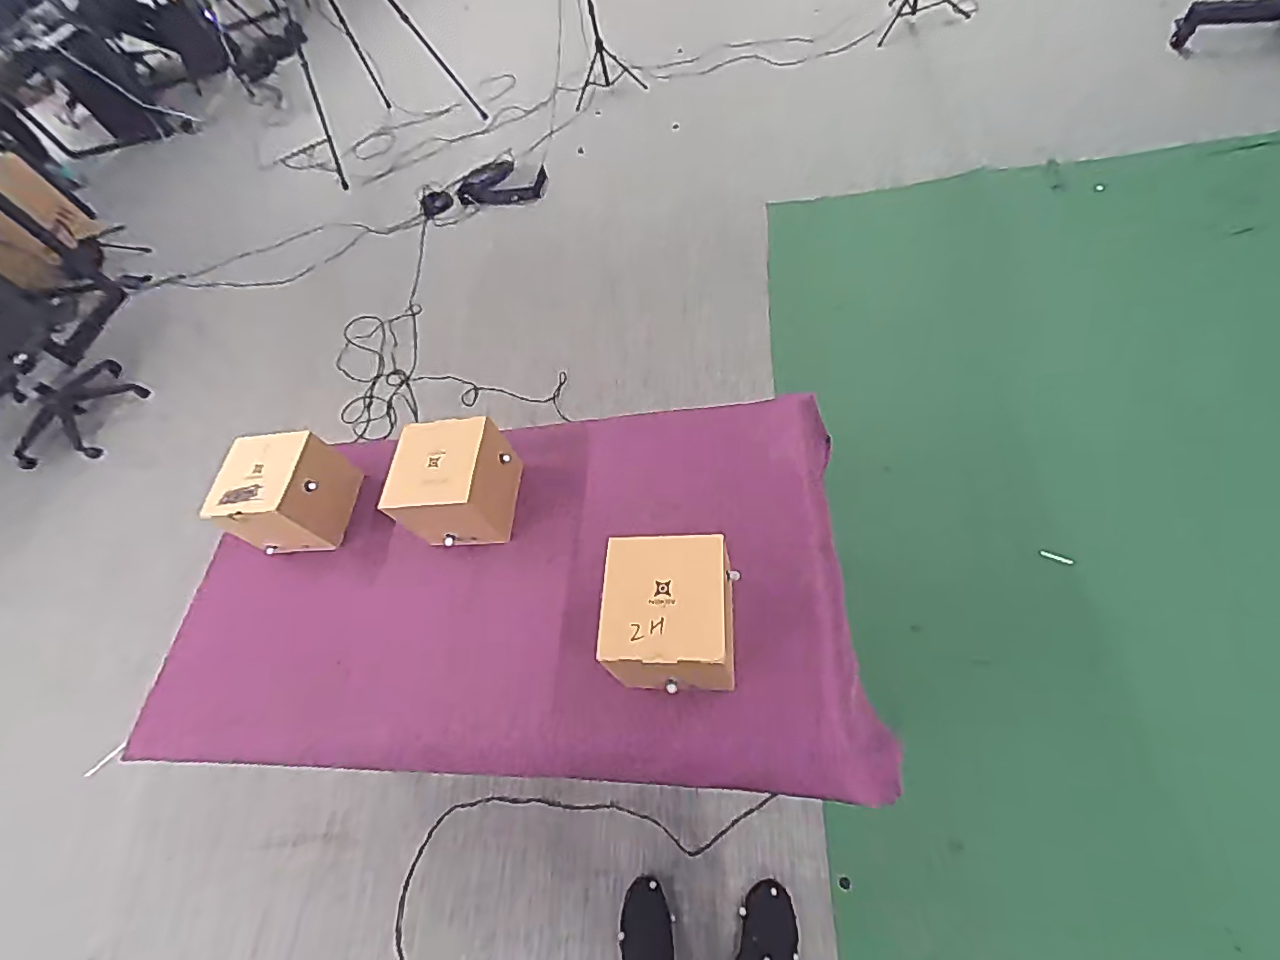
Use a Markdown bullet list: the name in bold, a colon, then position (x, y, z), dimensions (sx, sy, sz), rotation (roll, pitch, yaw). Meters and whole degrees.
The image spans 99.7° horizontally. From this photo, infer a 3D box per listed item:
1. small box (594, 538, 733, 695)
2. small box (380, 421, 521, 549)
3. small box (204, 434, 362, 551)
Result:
- **small box**: position (0.044, 0.199, 0.782), dimensions (0.168, 0.176, 0.179), rotation (-3, 57, 13)
- **small box**: position (-0.333, 0.014, 0.992), dimensions (0.168, 0.176, 0.179), rotation (-4, 59, 12)
- **small box**: position (-0.684, 0.033, 1.061), dimensions (0.168, 0.176, 0.179), rotation (-4, 58, 10)
